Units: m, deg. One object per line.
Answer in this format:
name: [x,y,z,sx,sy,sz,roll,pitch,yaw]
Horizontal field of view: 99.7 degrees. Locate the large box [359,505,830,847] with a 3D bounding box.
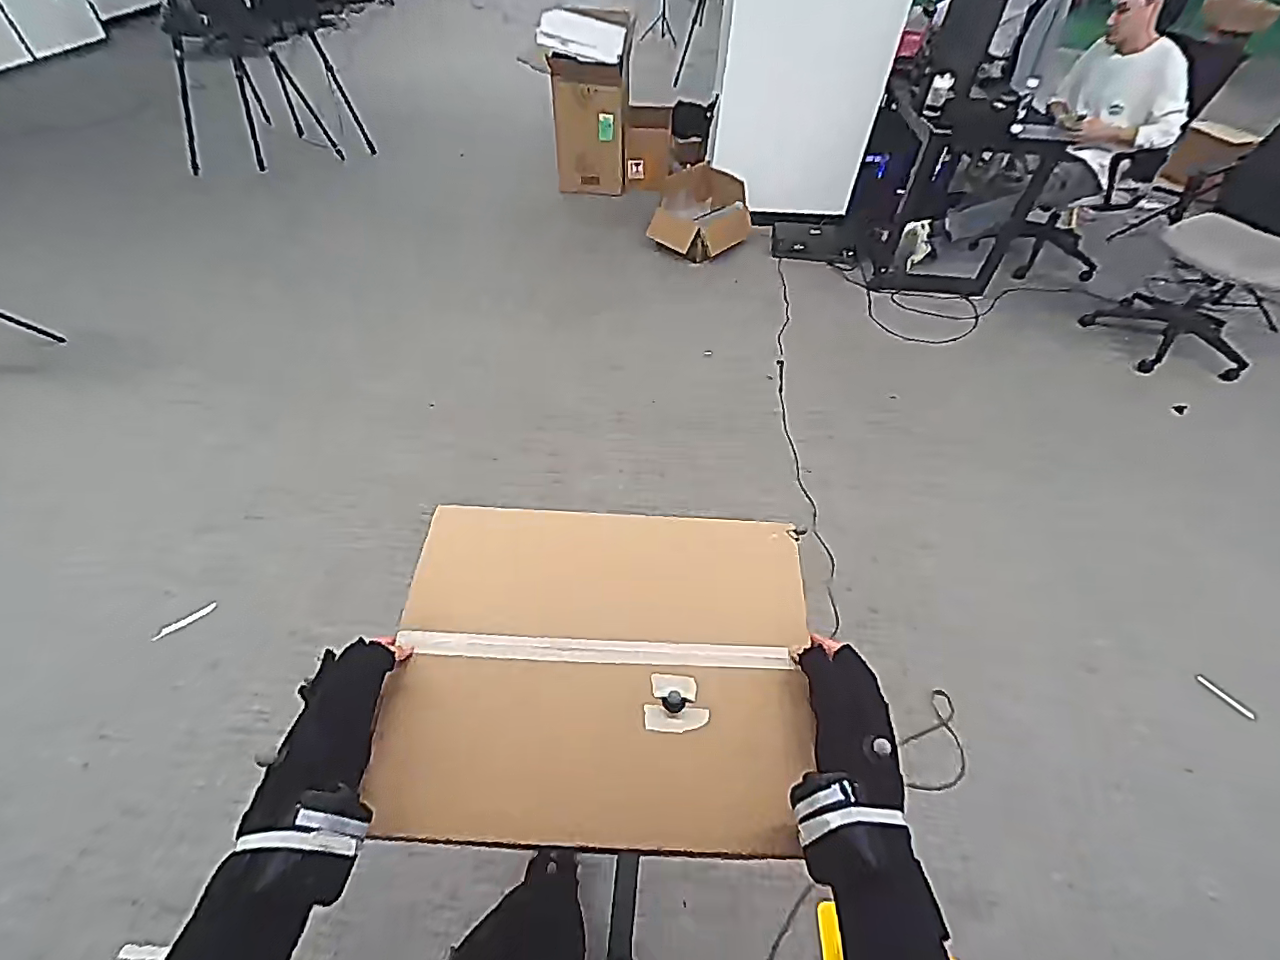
large box: [-0.040,0.249,0.655,0.408,0.320,0.320,4,55,-1]
